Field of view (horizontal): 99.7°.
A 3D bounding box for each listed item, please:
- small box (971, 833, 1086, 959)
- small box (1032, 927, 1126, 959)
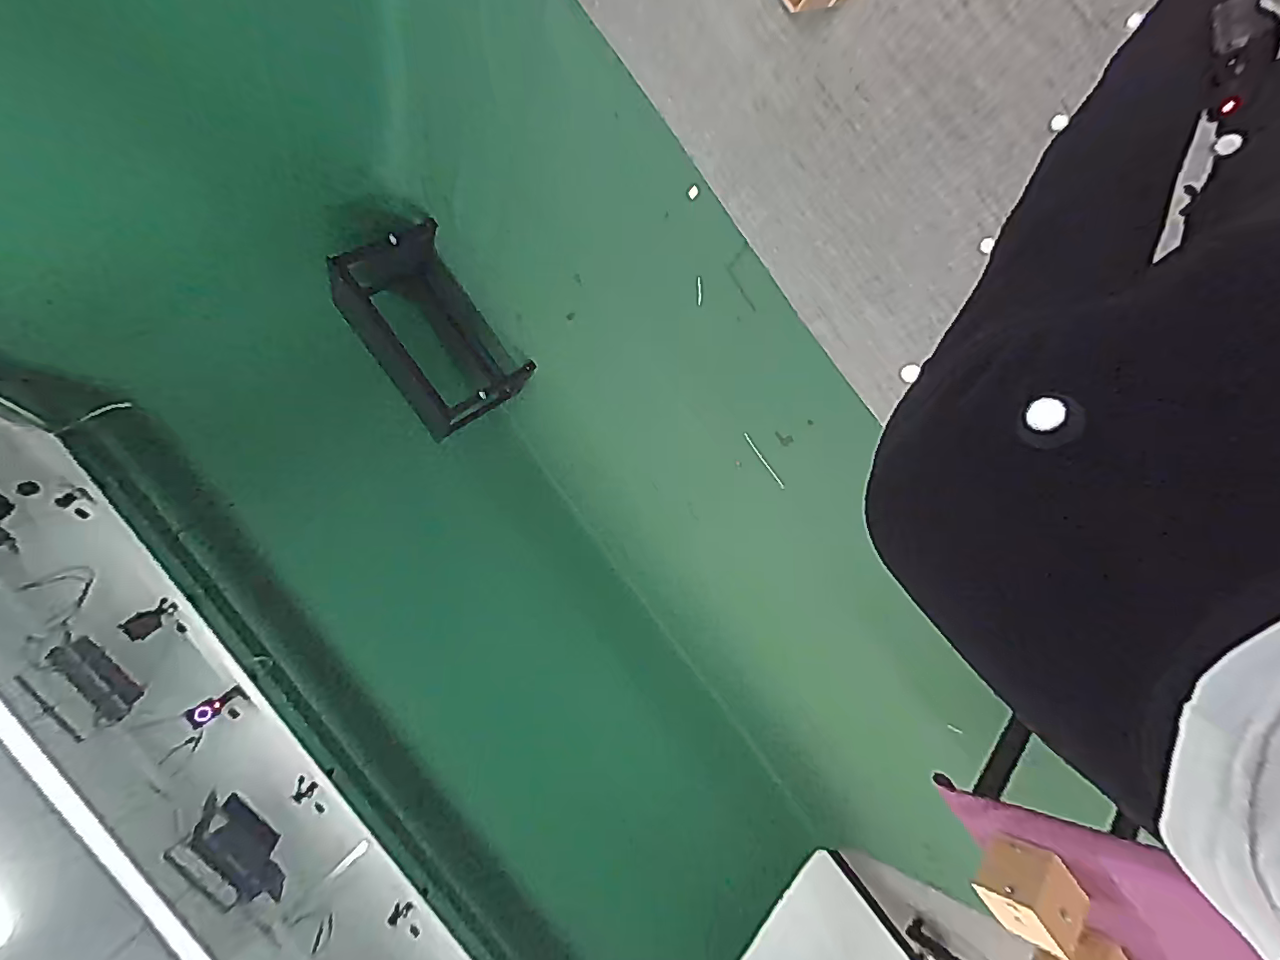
[{"bbox_3d":[1.032,1.091,1.432,0.179,0.176,0.168,52,152,-5],"label":"small box"},{"bbox_3d":[1.210,1.349,1.460,0.179,0.176,0.168,55,151,-3],"label":"small box"}]
